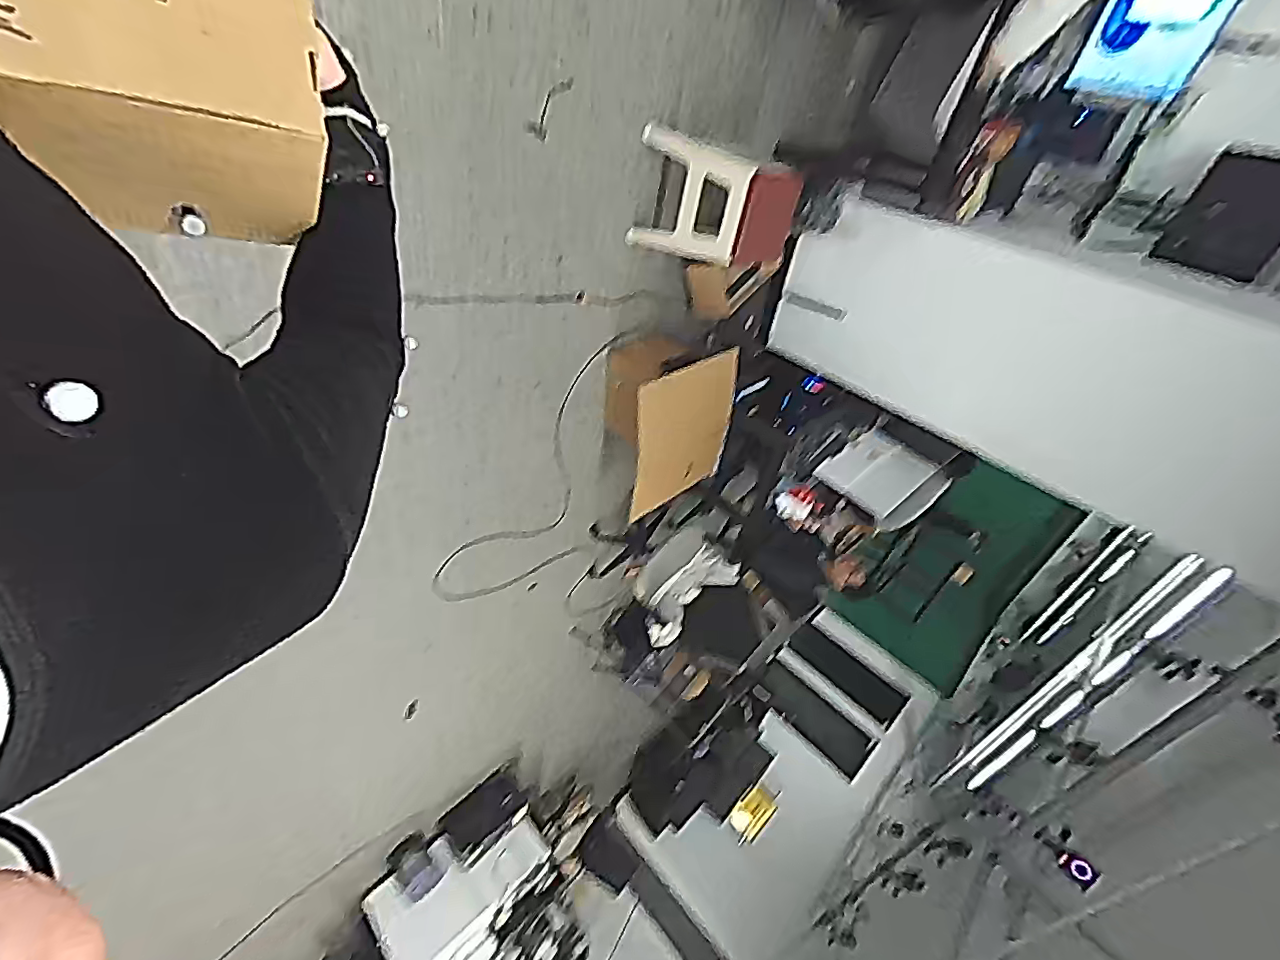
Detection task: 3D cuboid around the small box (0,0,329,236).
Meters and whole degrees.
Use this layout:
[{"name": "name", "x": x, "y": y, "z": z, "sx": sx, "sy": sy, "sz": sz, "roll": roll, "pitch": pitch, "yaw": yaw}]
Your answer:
[{"name": "small box", "x": -0.347, "y": -0.300, "z": 0.395, "sx": 0.179, "sy": 0.176, "sz": 0.168, "roll": -11, "pitch": 91, "yaw": -34}]
